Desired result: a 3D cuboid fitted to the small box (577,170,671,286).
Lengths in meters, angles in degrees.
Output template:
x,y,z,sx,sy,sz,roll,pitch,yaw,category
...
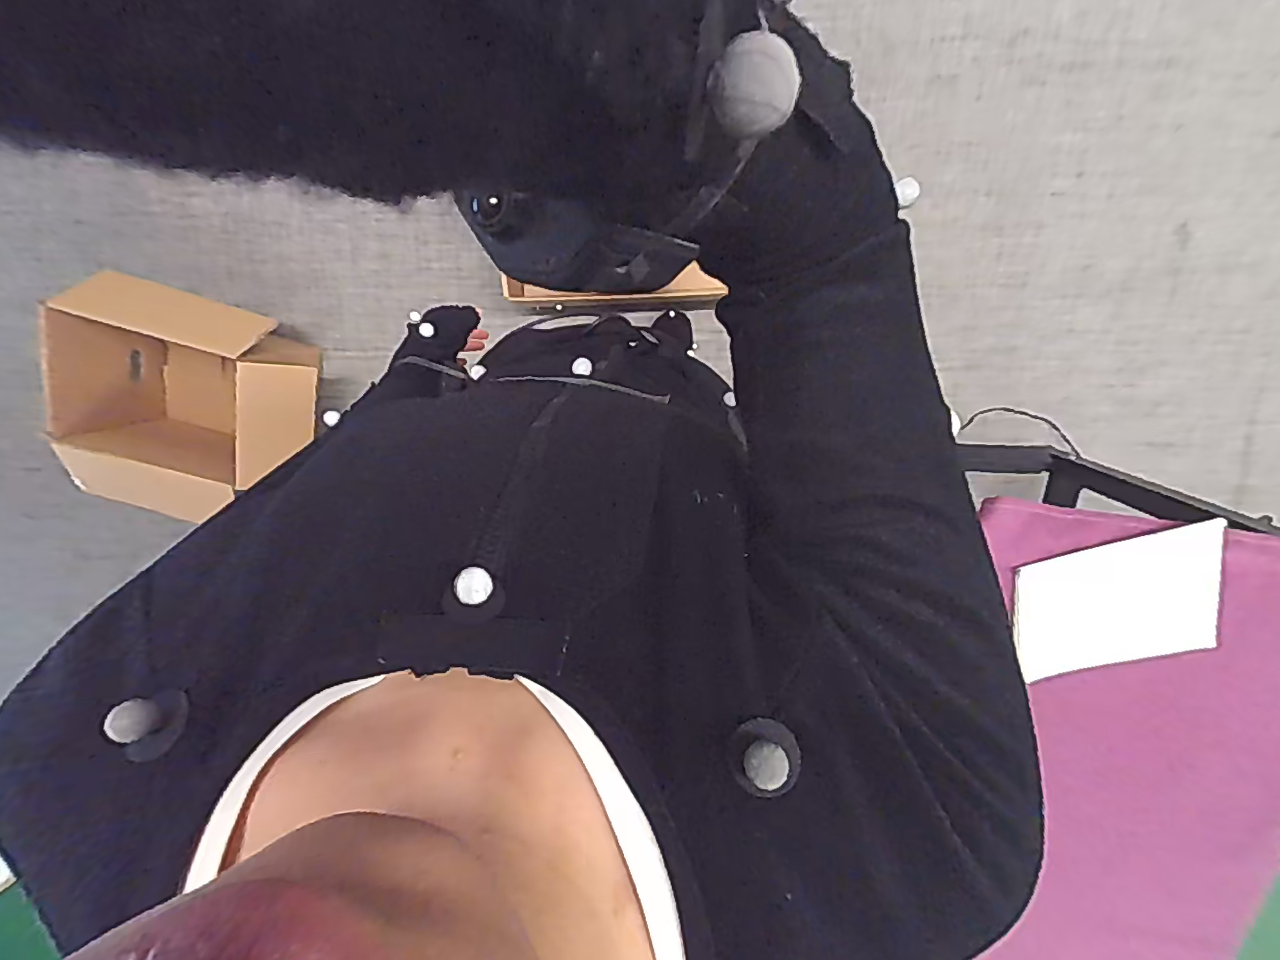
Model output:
x,y,z,sx,sy,sz,roll,pitch,yaw,category
-0.026,-0.476,1.044,0.168,0.176,0.179,-2,107,3,small box
